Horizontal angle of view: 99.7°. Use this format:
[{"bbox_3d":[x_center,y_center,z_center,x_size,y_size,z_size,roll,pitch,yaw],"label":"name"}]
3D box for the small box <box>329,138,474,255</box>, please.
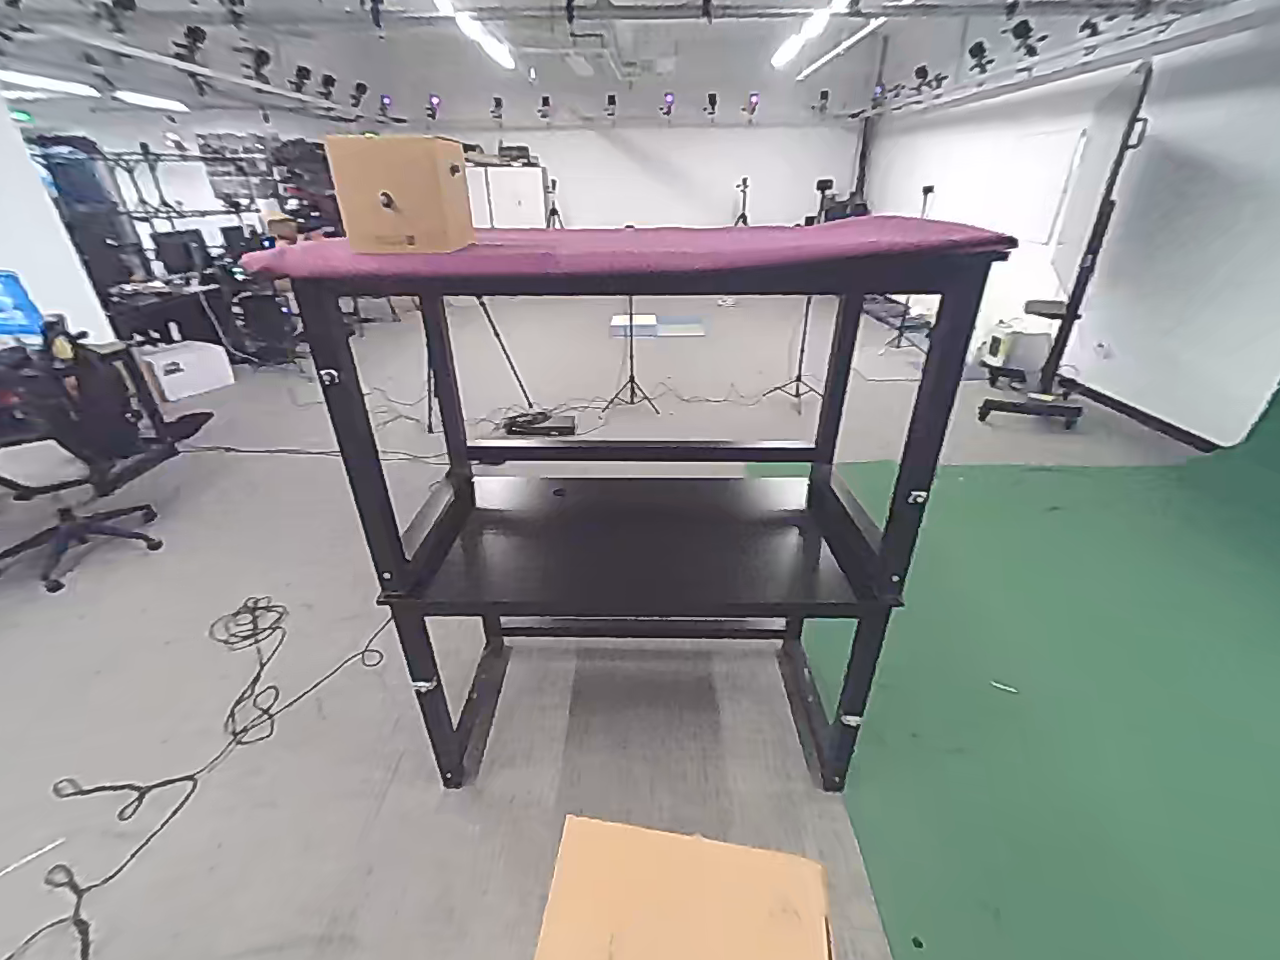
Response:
[{"bbox_3d":[-0.394,-0.486,0.932,0.168,0.176,0.179,0,29,-2],"label":"small box"}]
